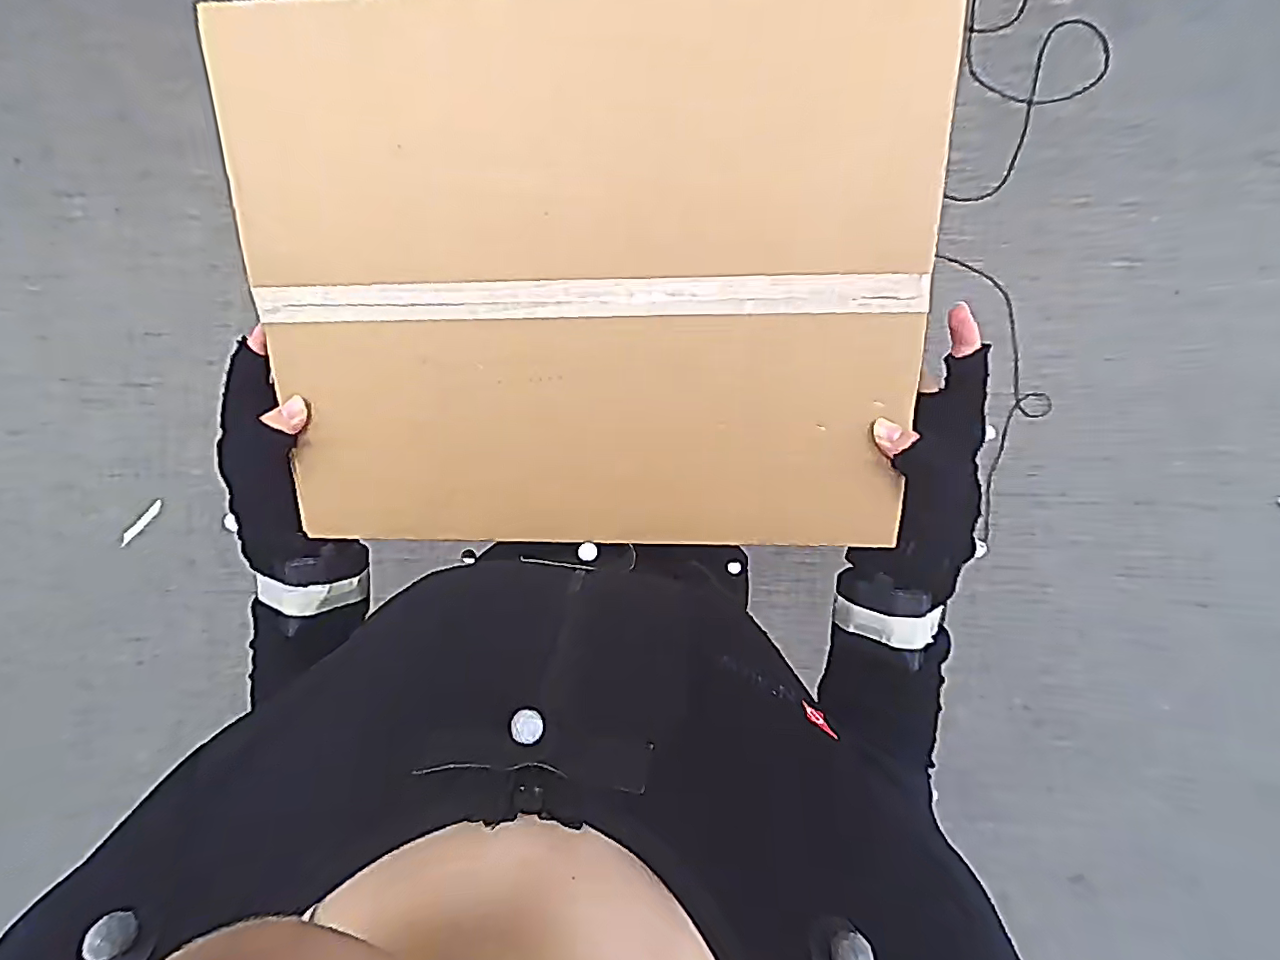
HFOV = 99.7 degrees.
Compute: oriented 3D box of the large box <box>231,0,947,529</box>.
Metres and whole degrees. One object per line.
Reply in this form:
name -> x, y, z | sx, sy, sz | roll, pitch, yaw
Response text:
large box -> -0.026, -0.154, 0.477 | 0.408, 0.320, 0.320 | 0, 107, 4
